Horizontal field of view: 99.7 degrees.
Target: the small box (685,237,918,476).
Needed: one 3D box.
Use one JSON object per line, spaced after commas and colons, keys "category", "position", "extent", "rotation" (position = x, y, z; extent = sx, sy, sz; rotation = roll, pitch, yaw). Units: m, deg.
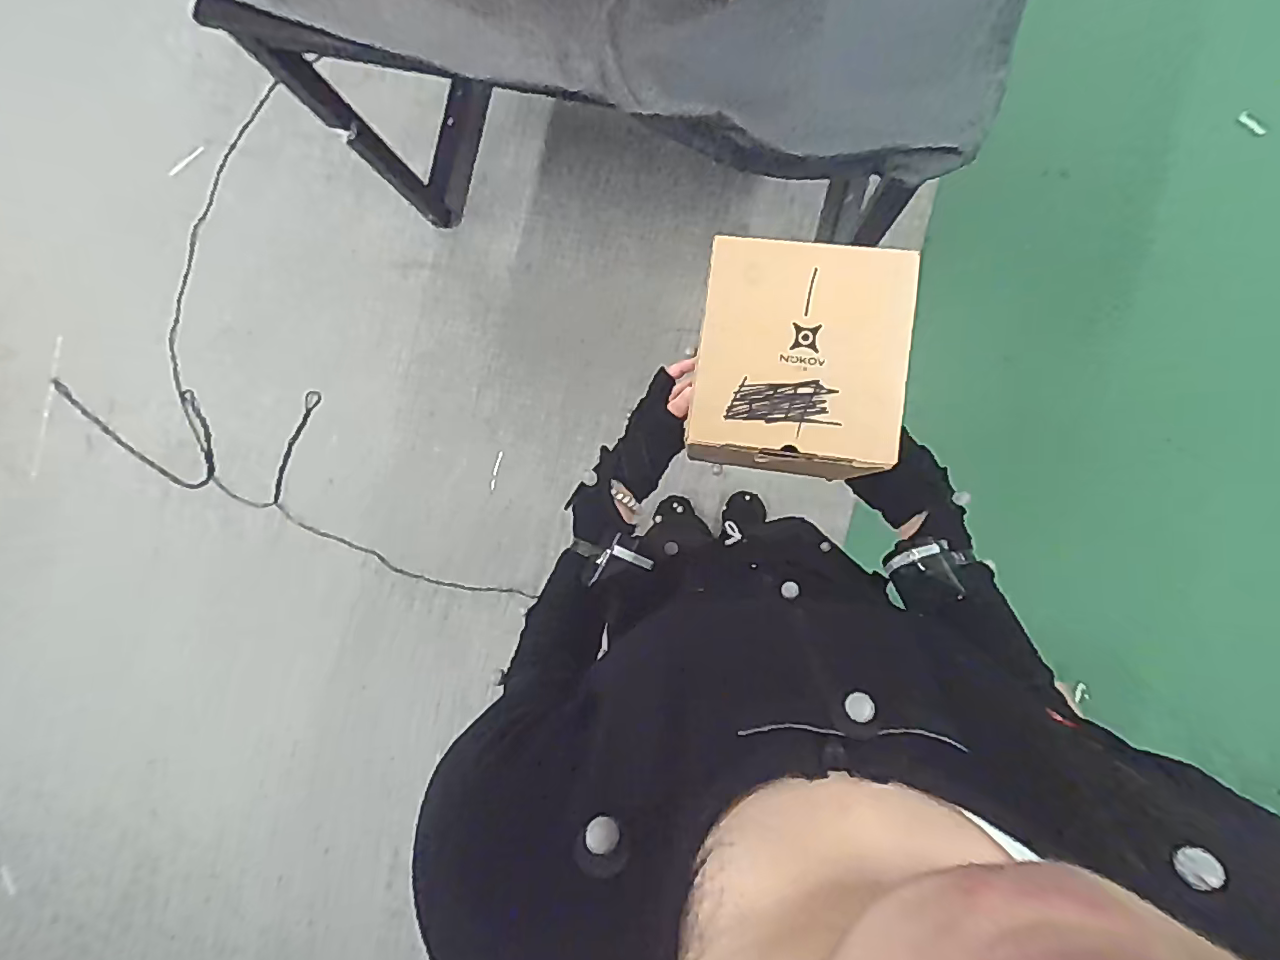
{"category": "small box", "position": [0.137, -0.101, 0.514], "extent": [0.168, 0.176, 0.179], "rotation": [7, 87, 6]}
